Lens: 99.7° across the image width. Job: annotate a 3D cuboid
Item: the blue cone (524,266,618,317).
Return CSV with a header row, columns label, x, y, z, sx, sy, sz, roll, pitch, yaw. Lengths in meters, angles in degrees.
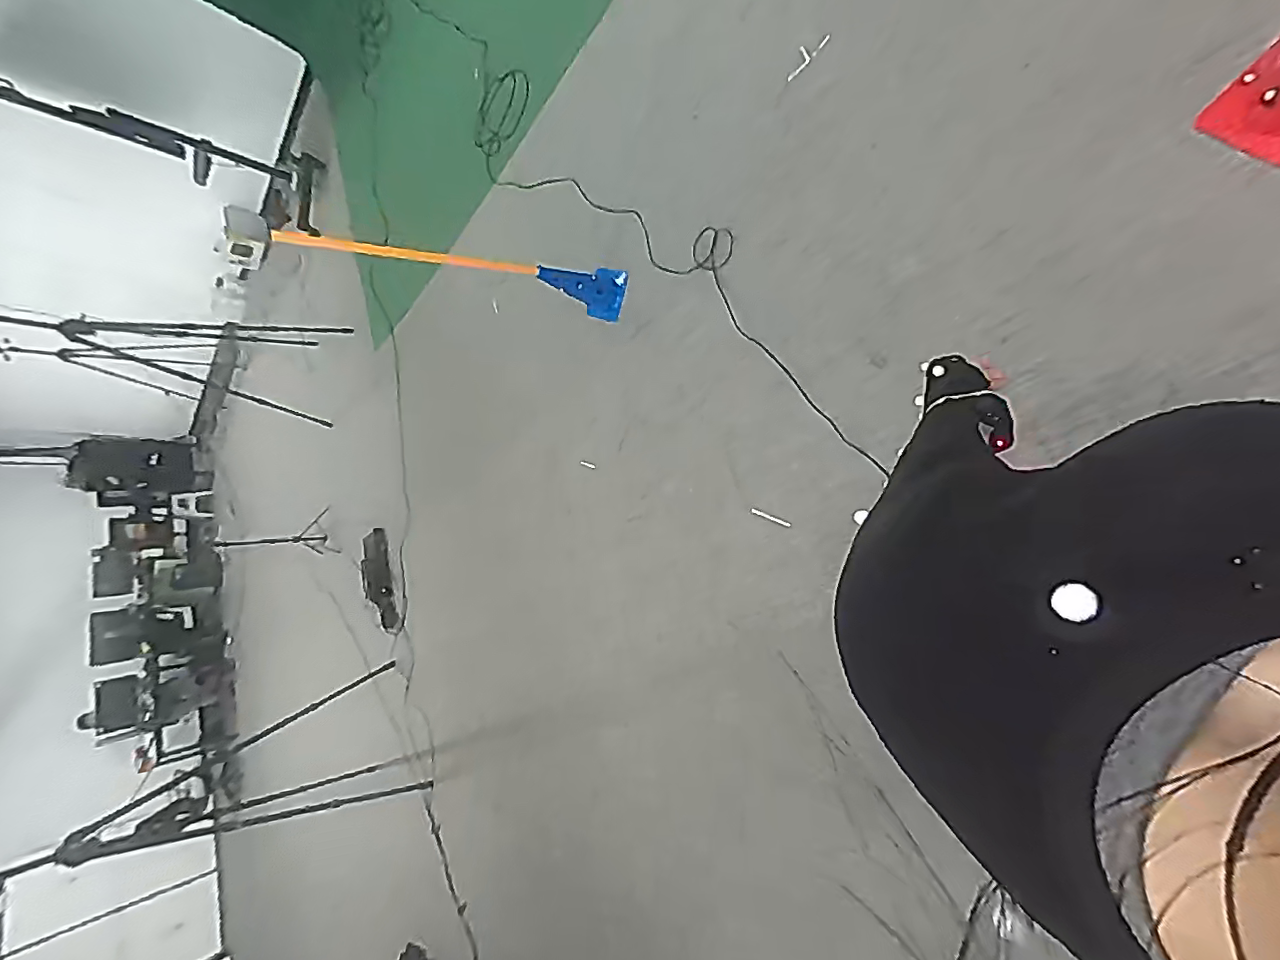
label,x,y,z,sx,sy,sz,roll,pitch,yaw
blue cone,-0.276,-0.757,2.078,0.192,0.380,0.193,24,108,38
